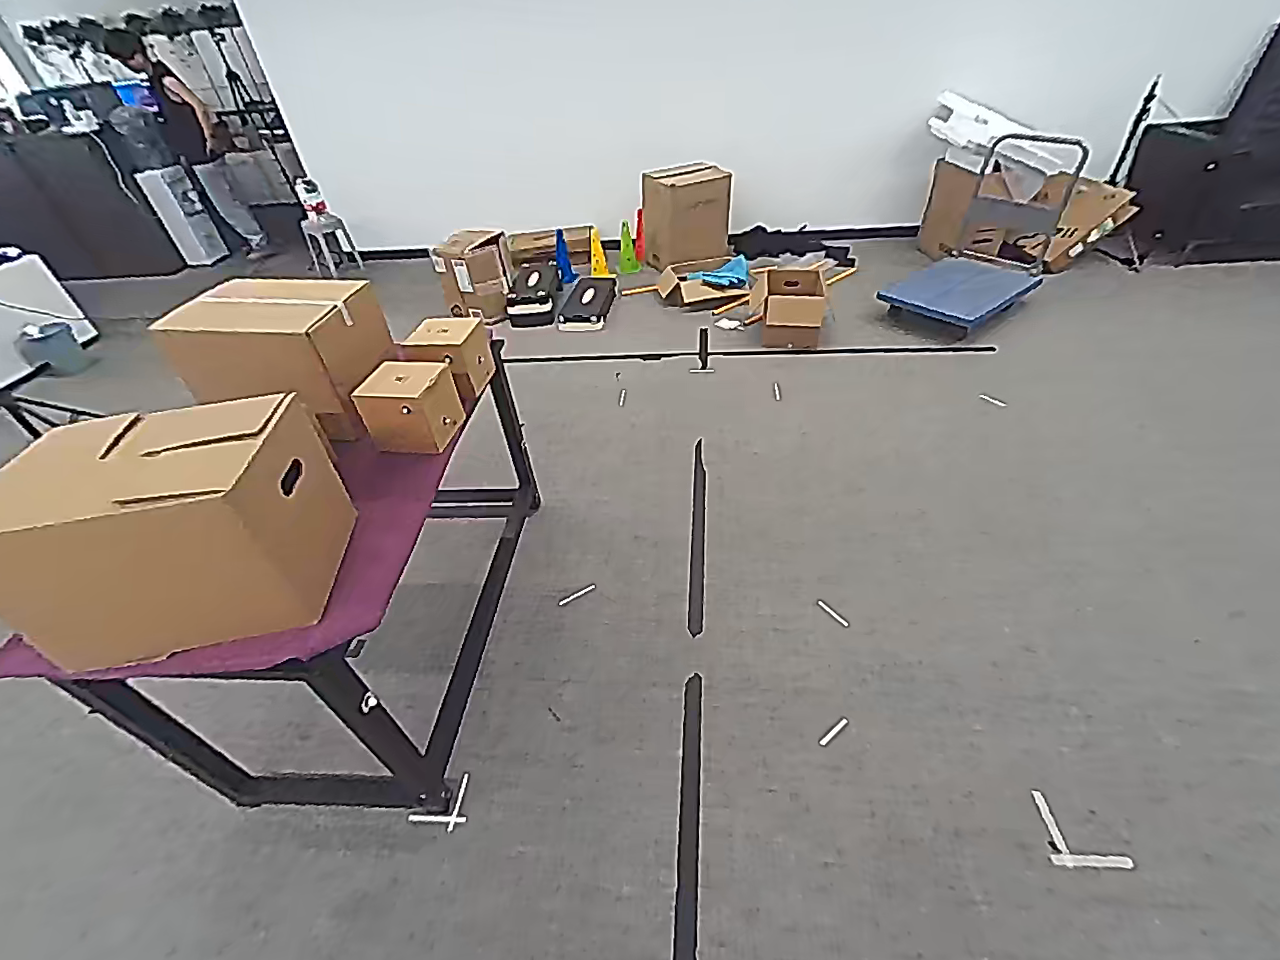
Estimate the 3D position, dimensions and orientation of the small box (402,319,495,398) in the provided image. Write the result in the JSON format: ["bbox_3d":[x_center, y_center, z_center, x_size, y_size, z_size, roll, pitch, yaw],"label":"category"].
[{"bbox_3d":[-0.534,-0.345,1.541,0.179,0.176,0.168,1,40,9],"label":"small box"}]
